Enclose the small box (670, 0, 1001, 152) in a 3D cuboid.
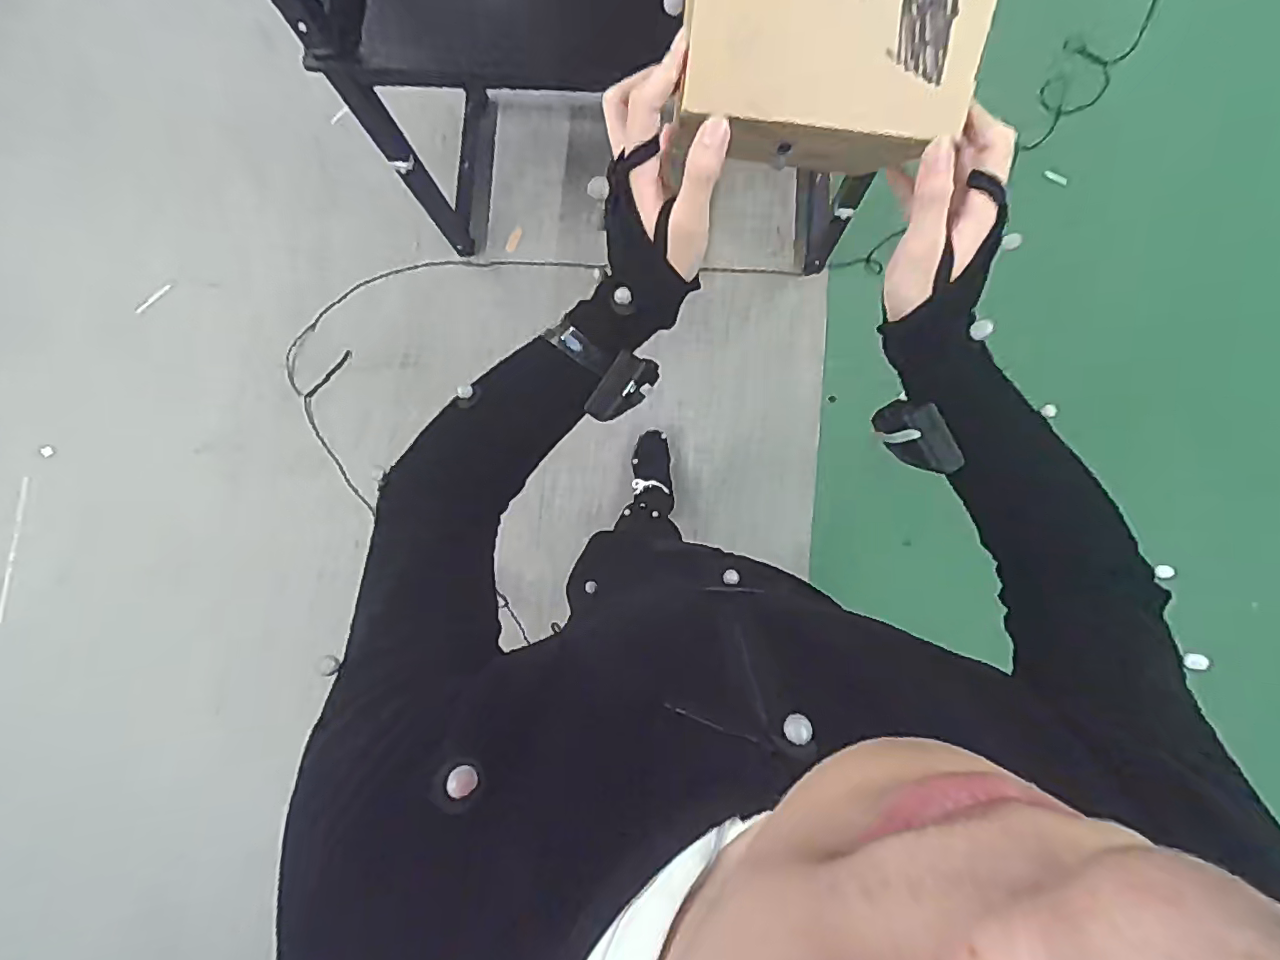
[{"bbox_3d":[0.117,-0.328,0.357,0.179,0.176,0.168,6,114,0],"label":"small box"}]
